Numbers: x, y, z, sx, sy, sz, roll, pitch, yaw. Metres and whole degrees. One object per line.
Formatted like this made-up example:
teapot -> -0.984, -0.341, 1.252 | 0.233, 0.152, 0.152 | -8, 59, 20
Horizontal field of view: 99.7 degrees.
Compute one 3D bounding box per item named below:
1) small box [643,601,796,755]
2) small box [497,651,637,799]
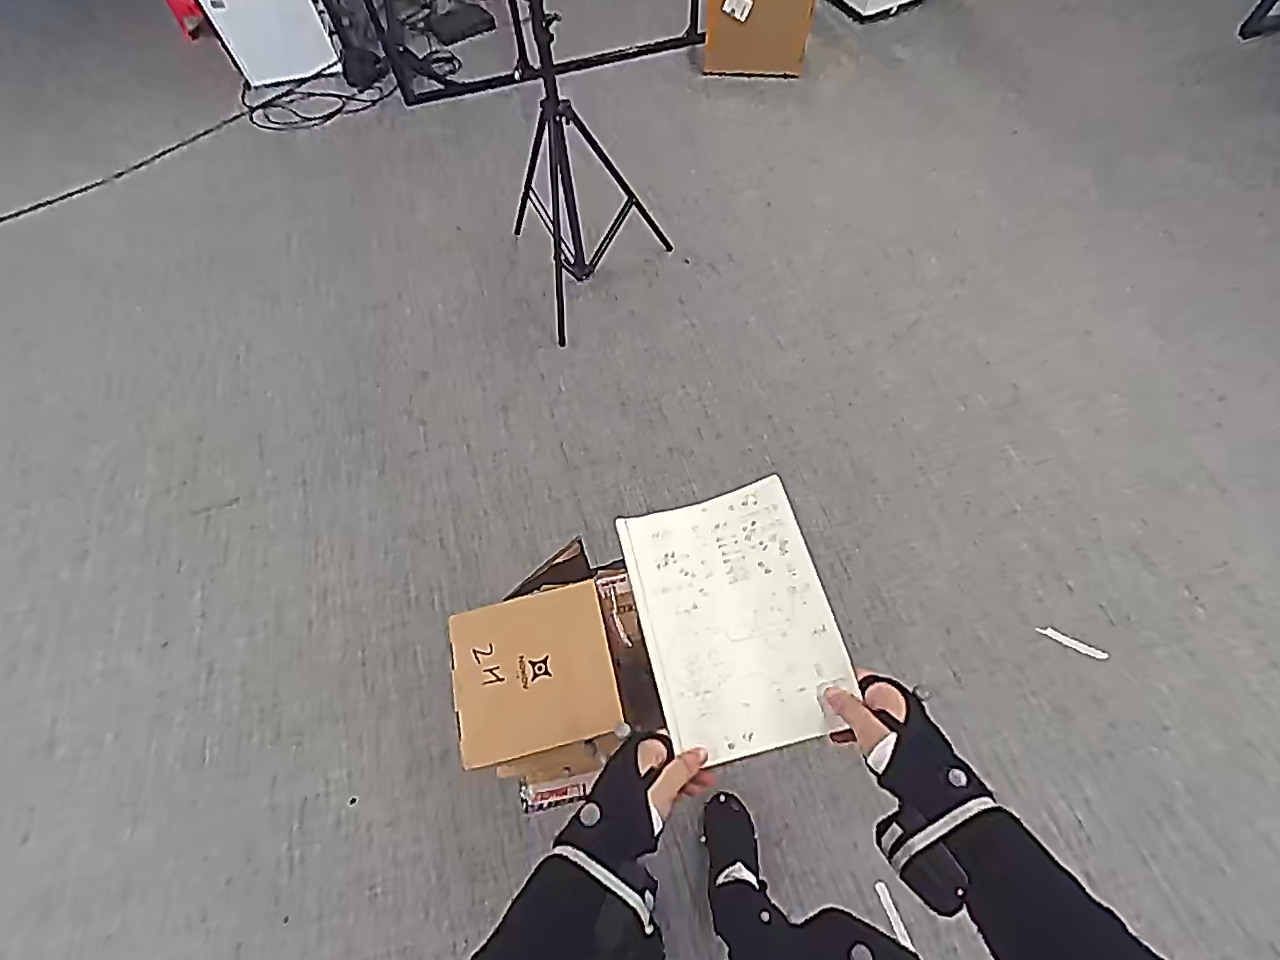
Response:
small box -> 0.107, 0.303, 0.826 | 0.179, 0.176, 0.168 | -16, 65, -7
small box -> -0.101, 0.359, 0.806 | 0.179, 0.176, 0.168 | -10, 65, -1
